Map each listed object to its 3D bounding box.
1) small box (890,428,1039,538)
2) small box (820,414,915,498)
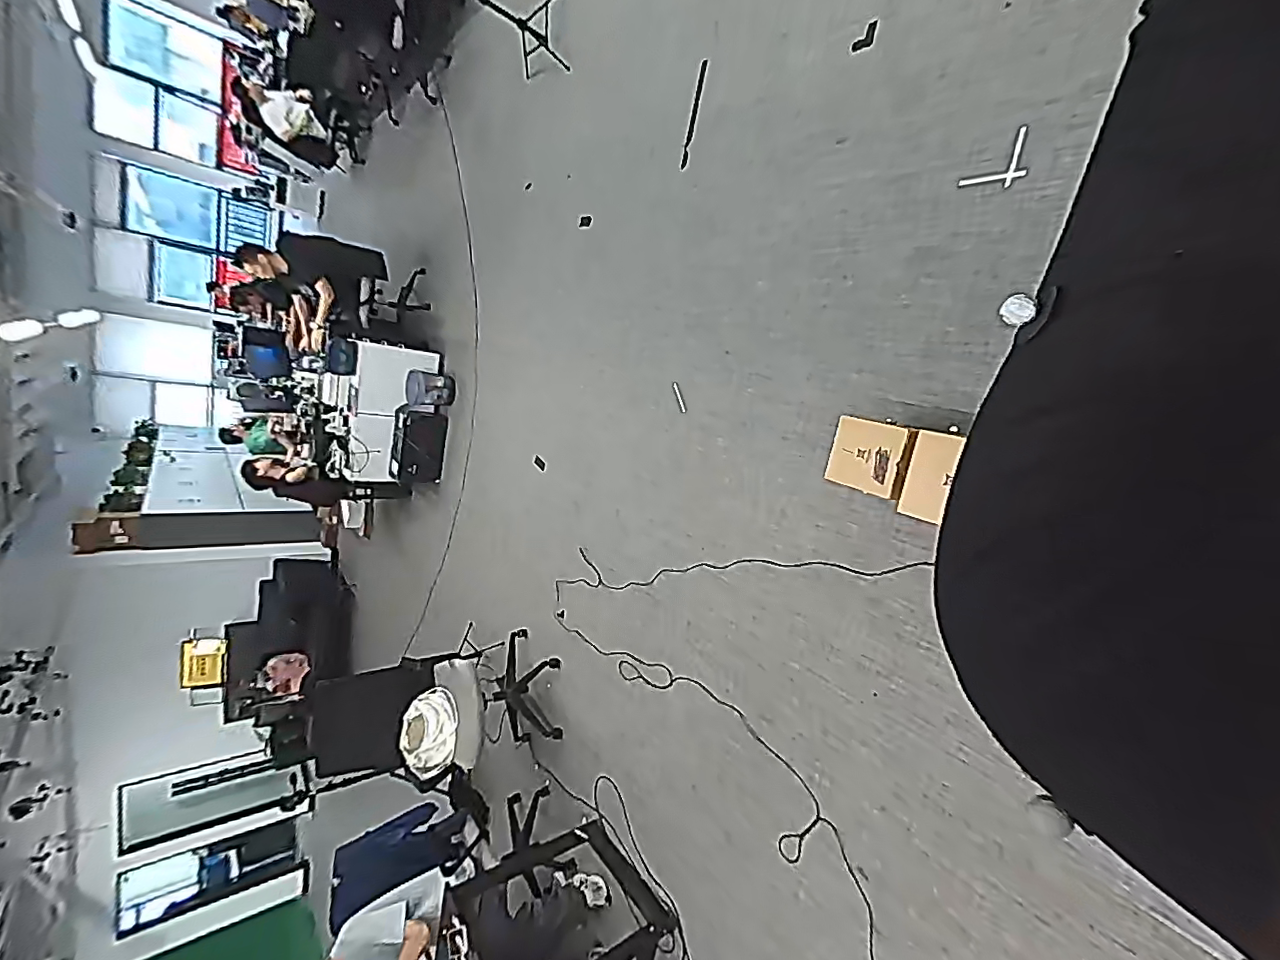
[{"bbox_3d":[0.619,0.003,1.031,0.179,0.176,0.168,23,106,45],"label":"small box"},{"bbox_3d":[0.582,-0.060,1.328,0.179,0.176,0.168,26,108,48],"label":"small box"}]
